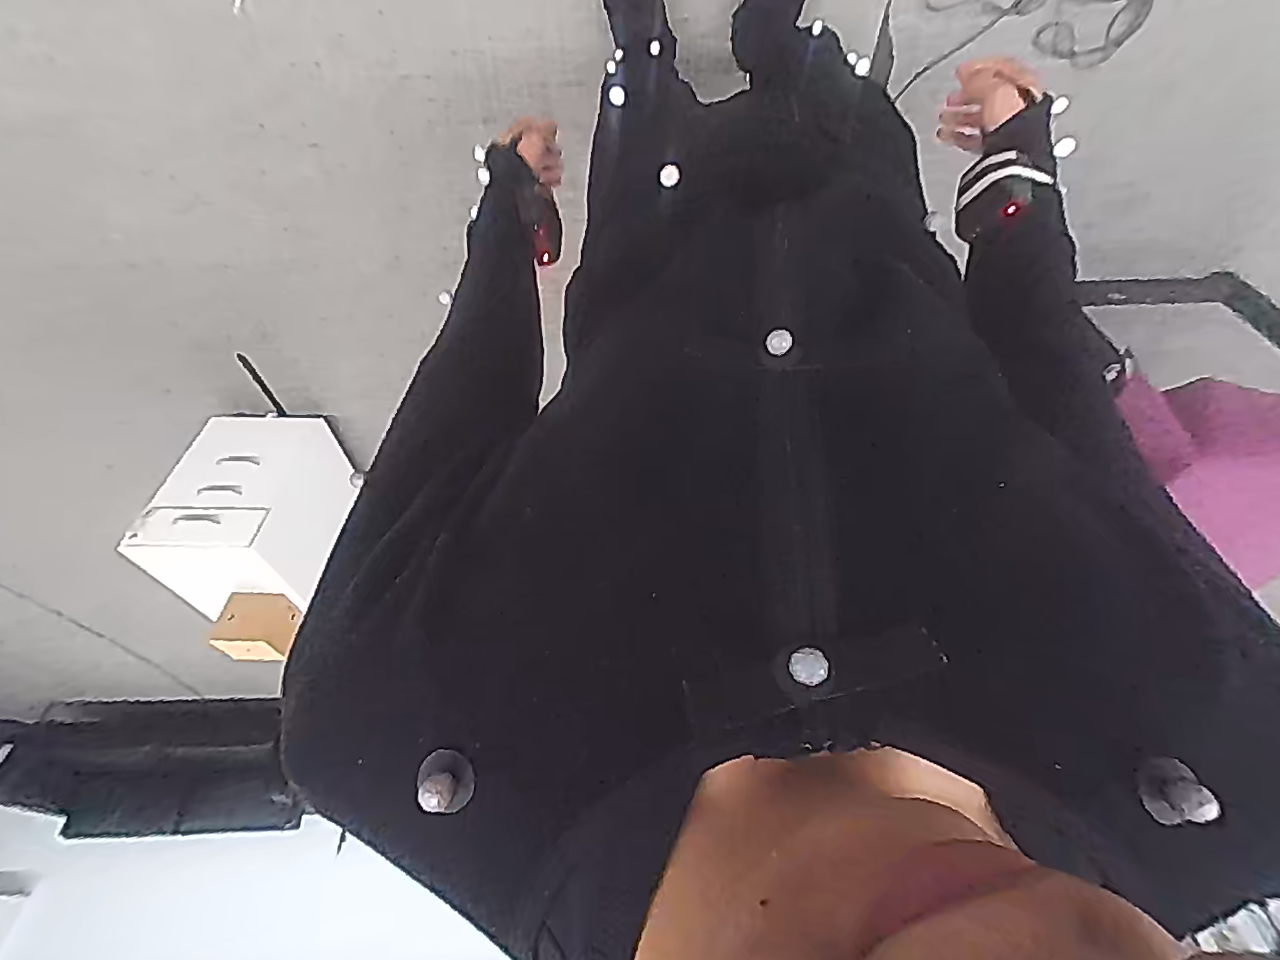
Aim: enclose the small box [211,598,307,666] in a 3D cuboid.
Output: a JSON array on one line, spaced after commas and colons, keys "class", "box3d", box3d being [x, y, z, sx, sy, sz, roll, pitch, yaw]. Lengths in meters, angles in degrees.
[{"class": "small box", "box3d": [-1.256, 0.502, 1.797, 0.179, 0.176, 0.168, 1, 141, -1]}]
